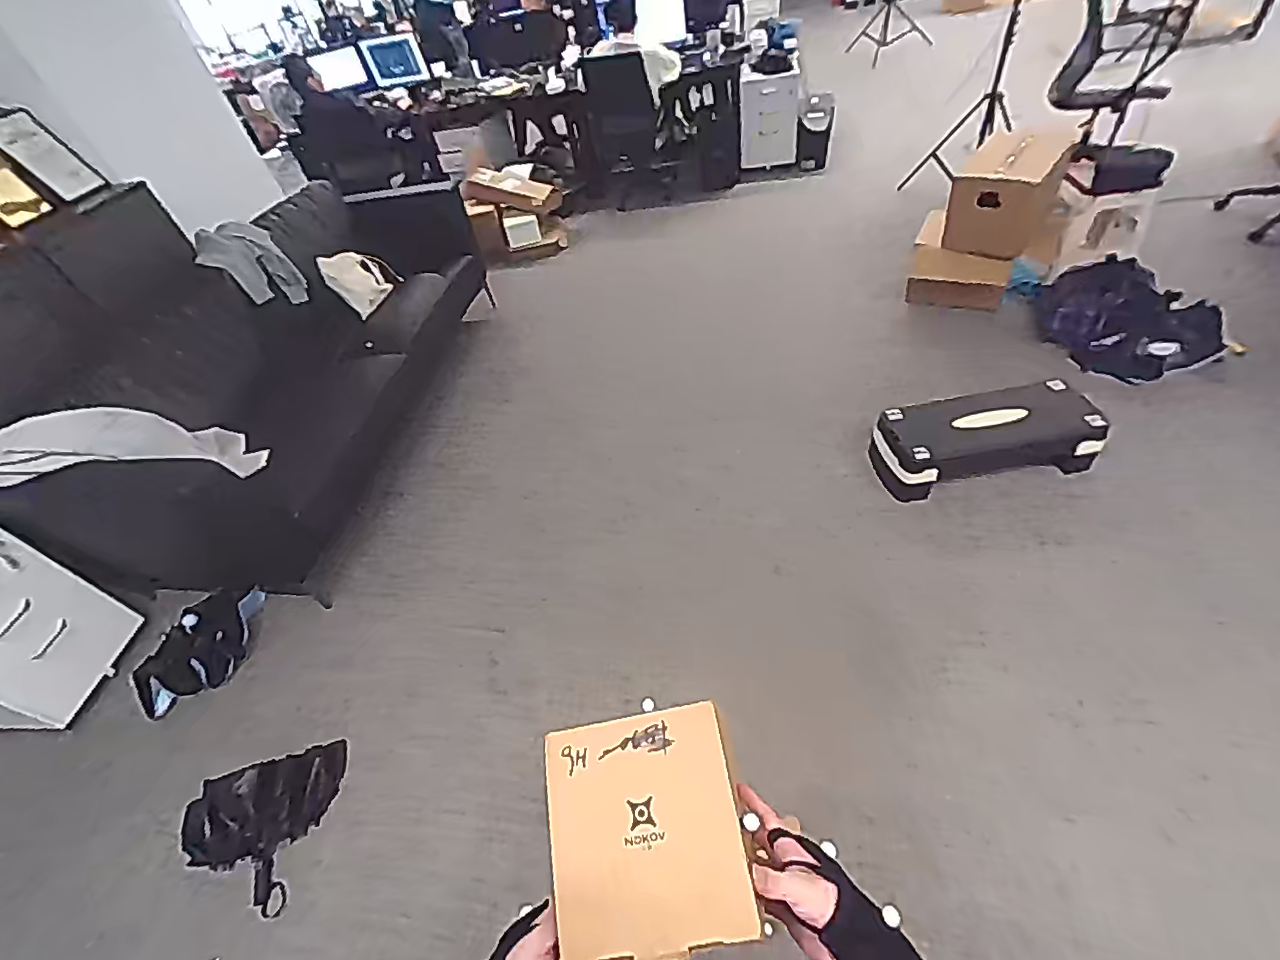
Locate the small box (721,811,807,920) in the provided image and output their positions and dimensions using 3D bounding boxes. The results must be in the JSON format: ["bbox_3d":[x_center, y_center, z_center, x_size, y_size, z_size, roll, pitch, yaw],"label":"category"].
[{"bbox_3d":[0.266,0.848,1.191,0.168,0.176,0.179,-5,48,8],"label":"small box"}]
